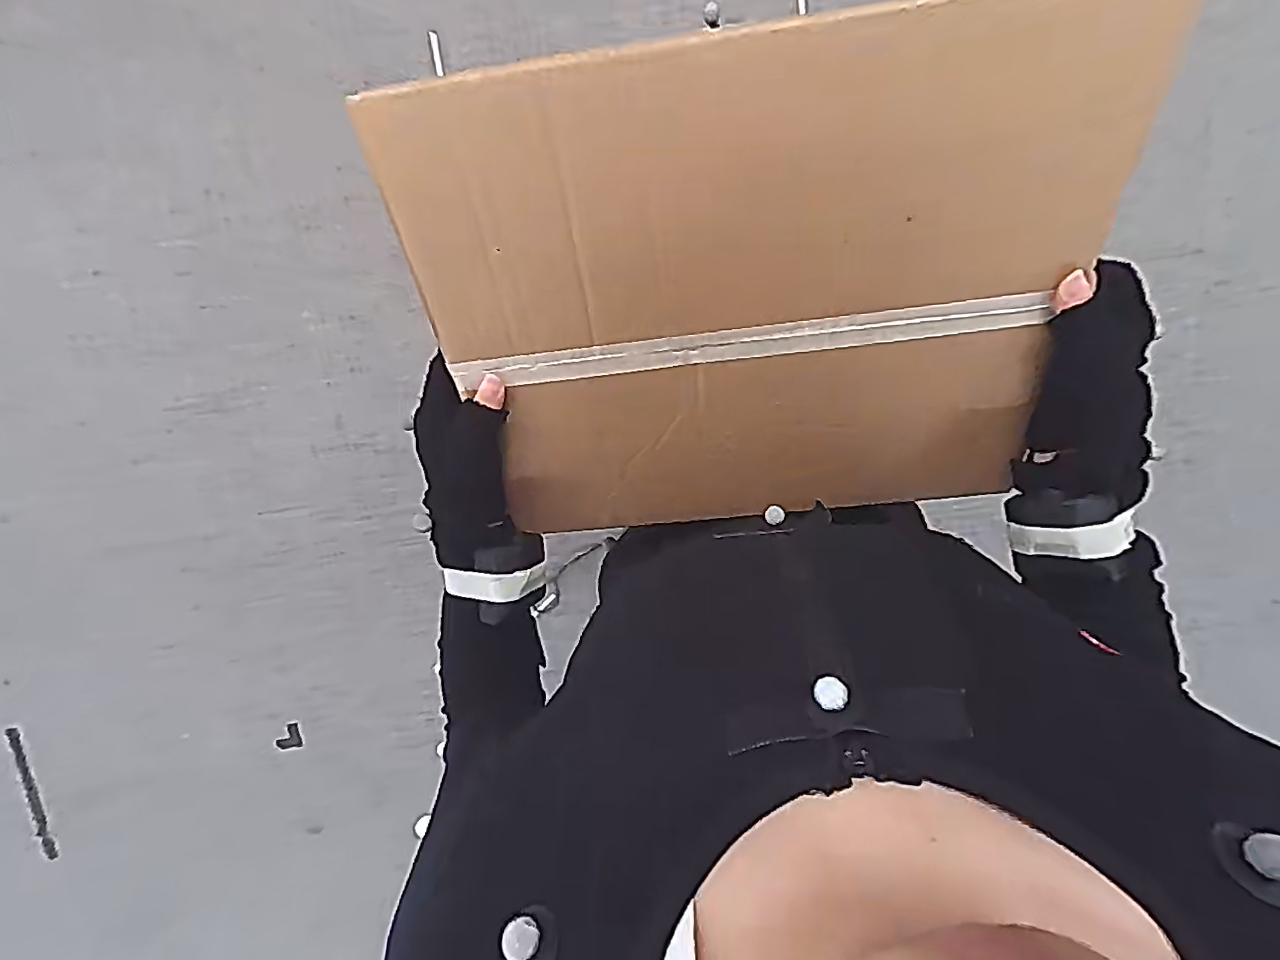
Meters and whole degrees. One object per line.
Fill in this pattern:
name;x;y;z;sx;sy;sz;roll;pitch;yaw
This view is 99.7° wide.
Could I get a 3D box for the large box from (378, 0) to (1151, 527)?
large box;0.073;-0.190;0.483;0.408;0.320;0.320;-6;128;5
